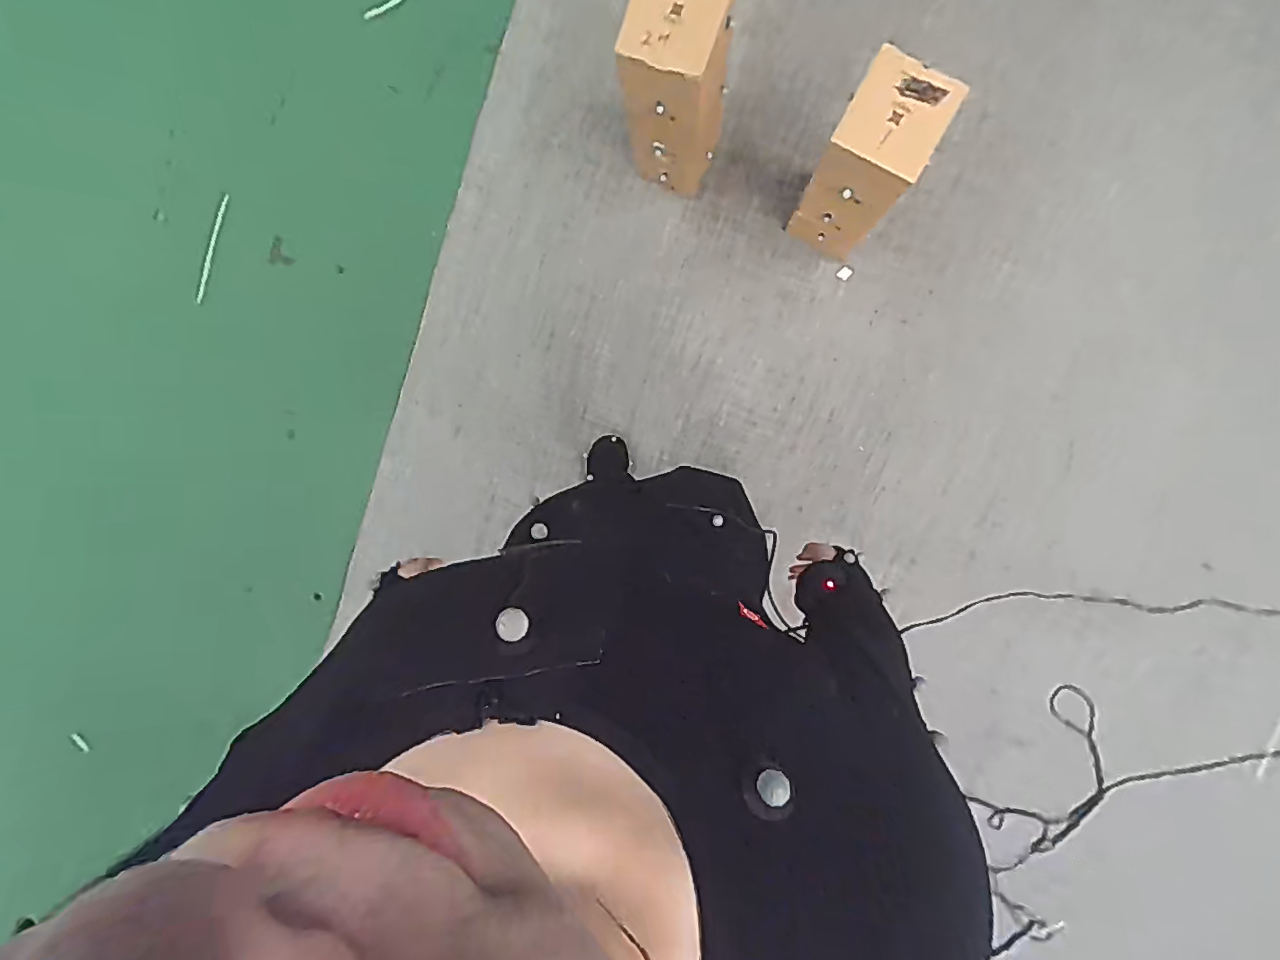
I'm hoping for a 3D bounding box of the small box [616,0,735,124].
[{"bbox_3d":[0.070,-0.817,1.009,0.168,0.176,0.179,21,98,4],"label":"small box"}]

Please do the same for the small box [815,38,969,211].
[{"bbox_3d":[0.446,-0.638,0.993,0.168,0.176,0.179,29,100,2],"label":"small box"}]

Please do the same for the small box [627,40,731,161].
[{"bbox_3d":[0.085,-0.839,1.172,0.168,0.176,0.179,21,99,4],"label":"small box"}]

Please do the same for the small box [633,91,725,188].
[{"bbox_3d":[0.099,-0.859,1.332,0.168,0.176,0.179,24,99,2],"label":"small box"}]

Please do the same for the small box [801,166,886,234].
[{"bbox_3d":[0.465,-0.664,1.154,0.168,0.176,0.179,28,99,2],"label":"small box"}]
